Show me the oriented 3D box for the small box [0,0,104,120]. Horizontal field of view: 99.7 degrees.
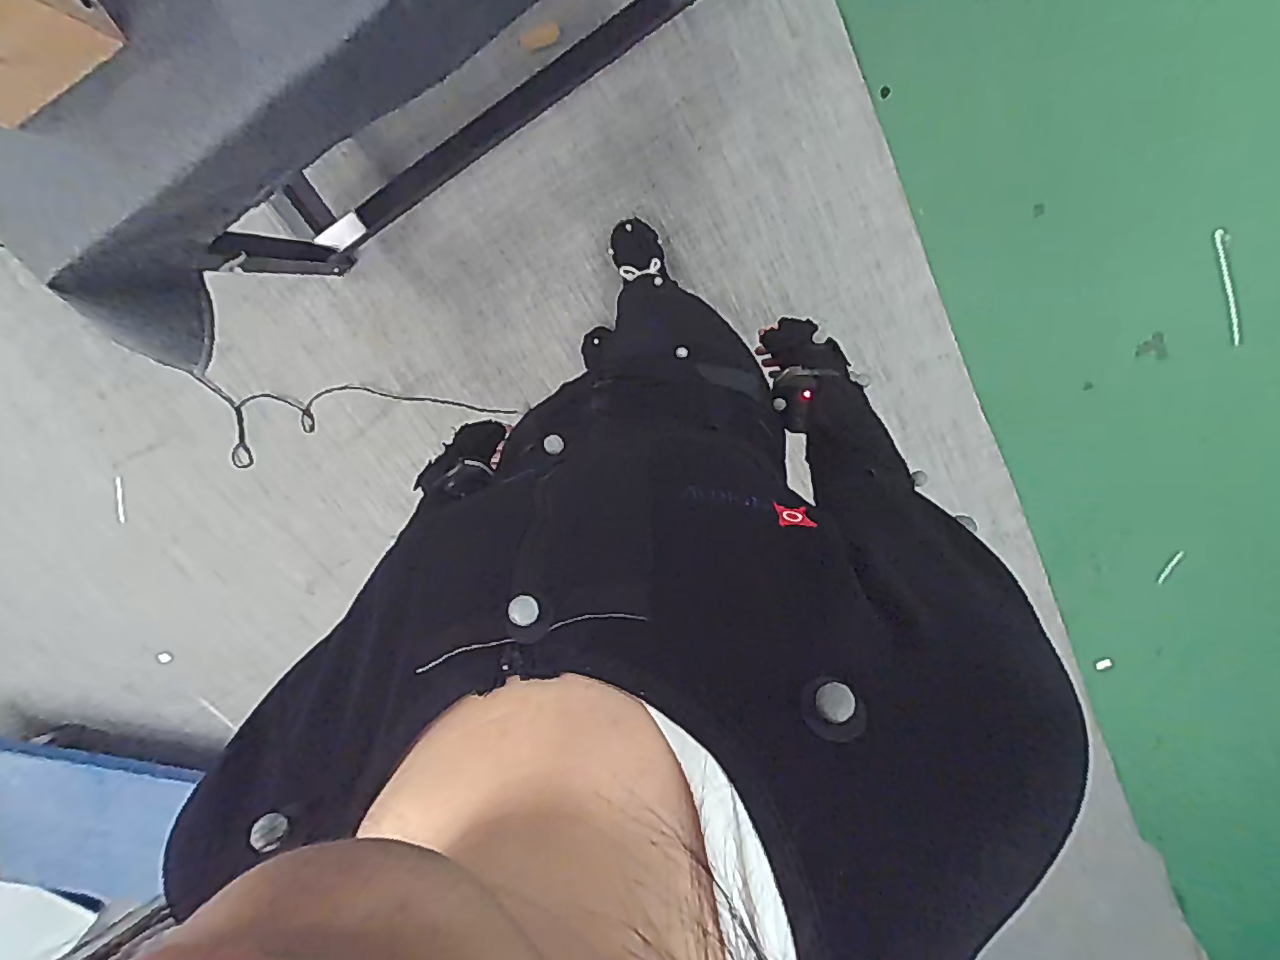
[{"bbox_3d":[-0.661,-0.471,0.489,0.179,0.176,0.168,-27,108,8],"label":"small box"}]
